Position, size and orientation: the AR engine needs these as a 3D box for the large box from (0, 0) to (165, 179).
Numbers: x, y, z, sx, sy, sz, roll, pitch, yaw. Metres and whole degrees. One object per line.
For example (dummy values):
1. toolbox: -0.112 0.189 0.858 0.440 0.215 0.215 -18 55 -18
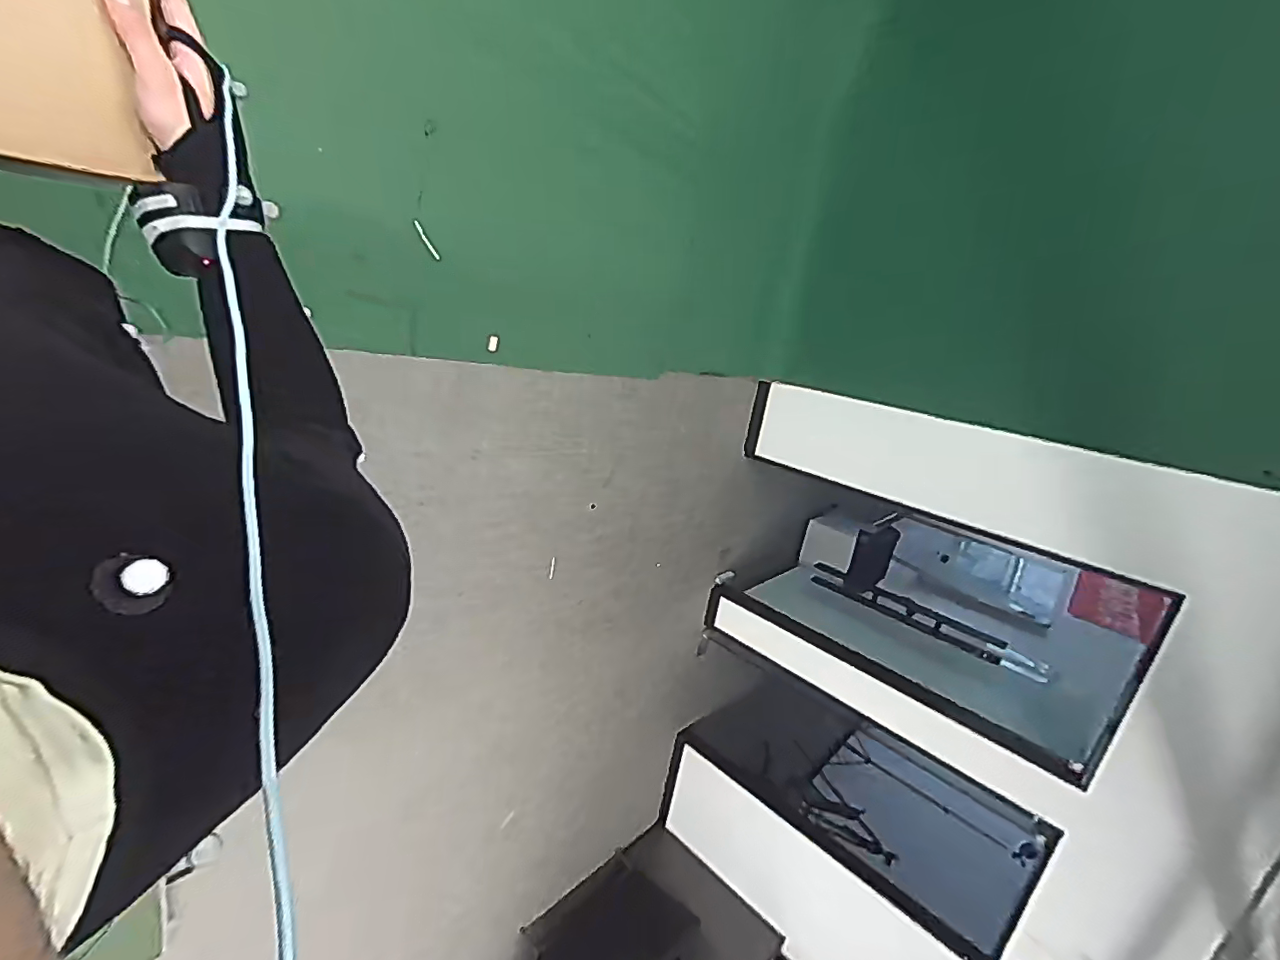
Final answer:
1. large box: -0.619 -0.410 0.342 0.408 0.320 0.320 -14 120 -49
